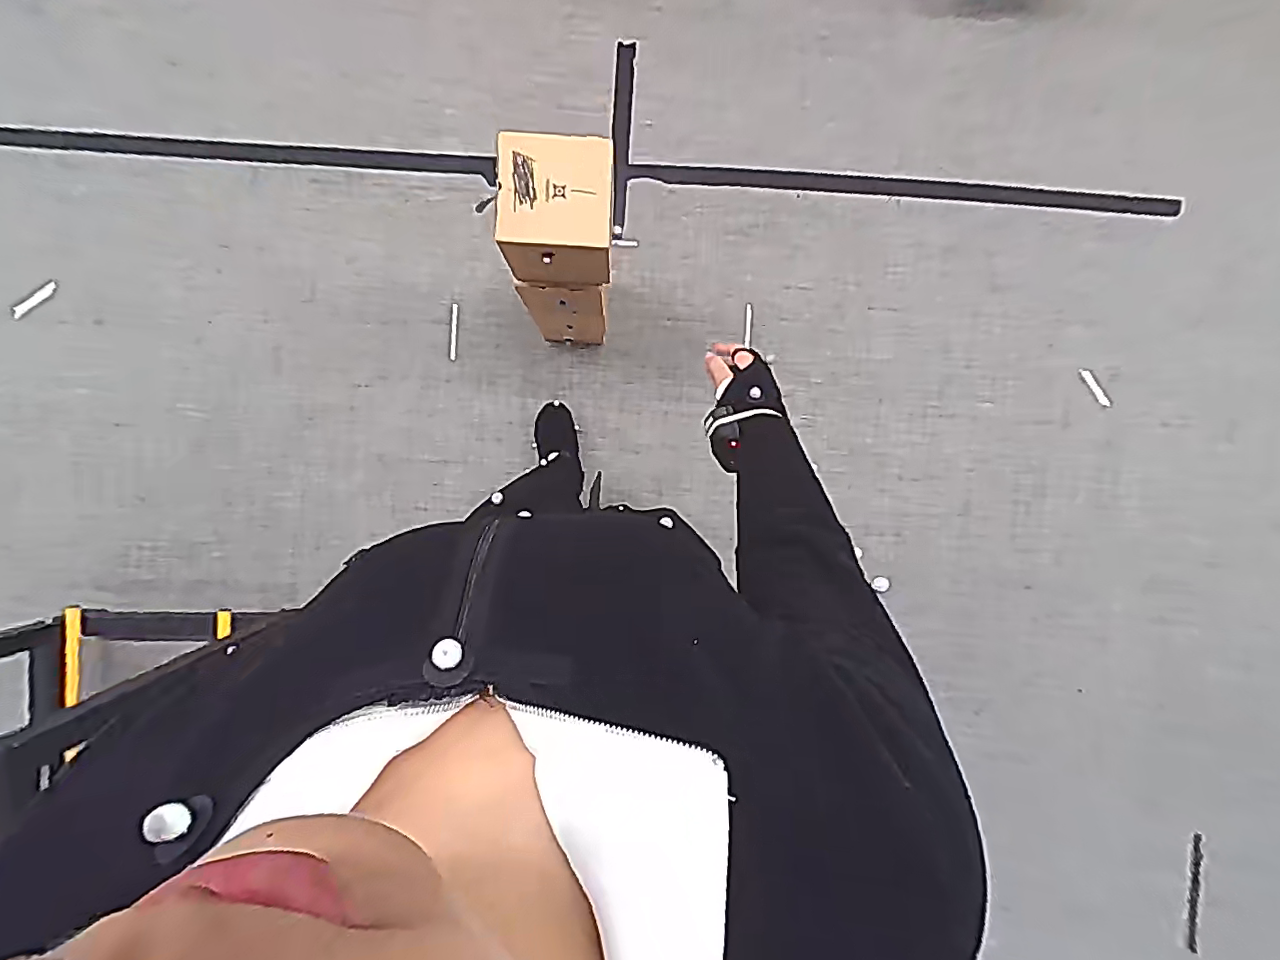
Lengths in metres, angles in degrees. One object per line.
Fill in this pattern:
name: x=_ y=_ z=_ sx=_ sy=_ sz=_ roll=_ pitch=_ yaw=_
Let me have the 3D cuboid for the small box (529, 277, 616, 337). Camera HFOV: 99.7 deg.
small box: x=-0.136 y=-0.414 z=1.144 sx=0.168 sy=0.176 sz=0.179 roll=3 pitch=92 yaw=-2

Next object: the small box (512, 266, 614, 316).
small box: x=-0.129 y=-0.406 z=0.981 sx=0.168 sy=0.176 sz=0.179 roll=3 pitch=93 yaw=-2

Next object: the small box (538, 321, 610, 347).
small box: x=-0.152 y=-0.430 z=1.308 sx=0.168 sy=0.176 sz=0.179 roll=2 pitch=93 yaw=-2

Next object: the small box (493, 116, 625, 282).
small box: x=-0.114 y=-0.410 z=0.816 sx=0.179 sy=0.176 sz=0.168 roll=2 pitch=92 yaw=-3
